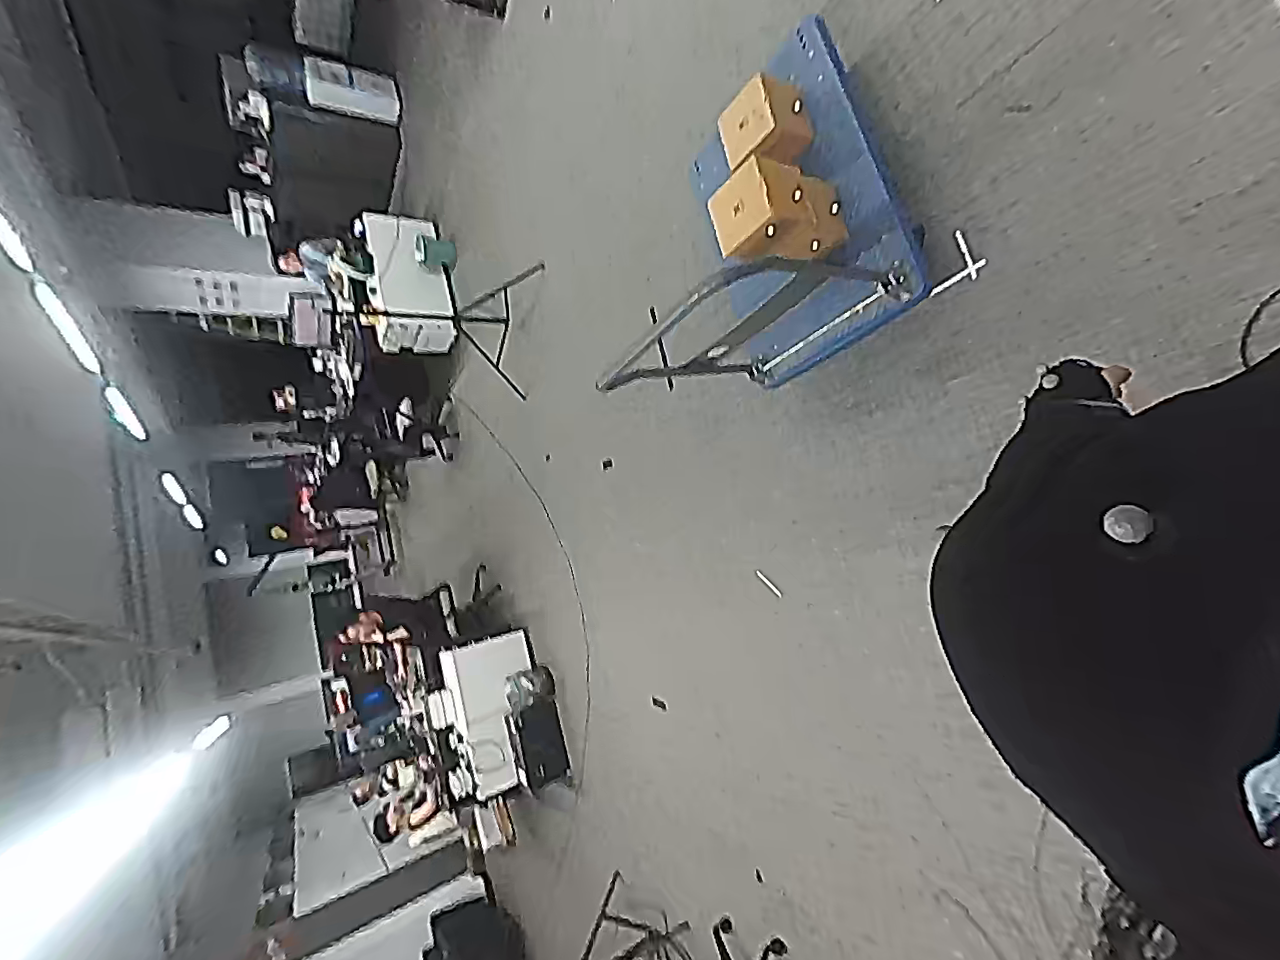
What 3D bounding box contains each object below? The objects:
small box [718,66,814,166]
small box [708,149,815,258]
[{"bbox_3d":[0.351,-0.994,1.512,0.179,0.176,0.168,-22,80,55],"label":"small box"},{"bbox_3d":[0.306,-0.684,1.362,0.179,0.176,0.168,-26,76,53],"label":"small box"}]
